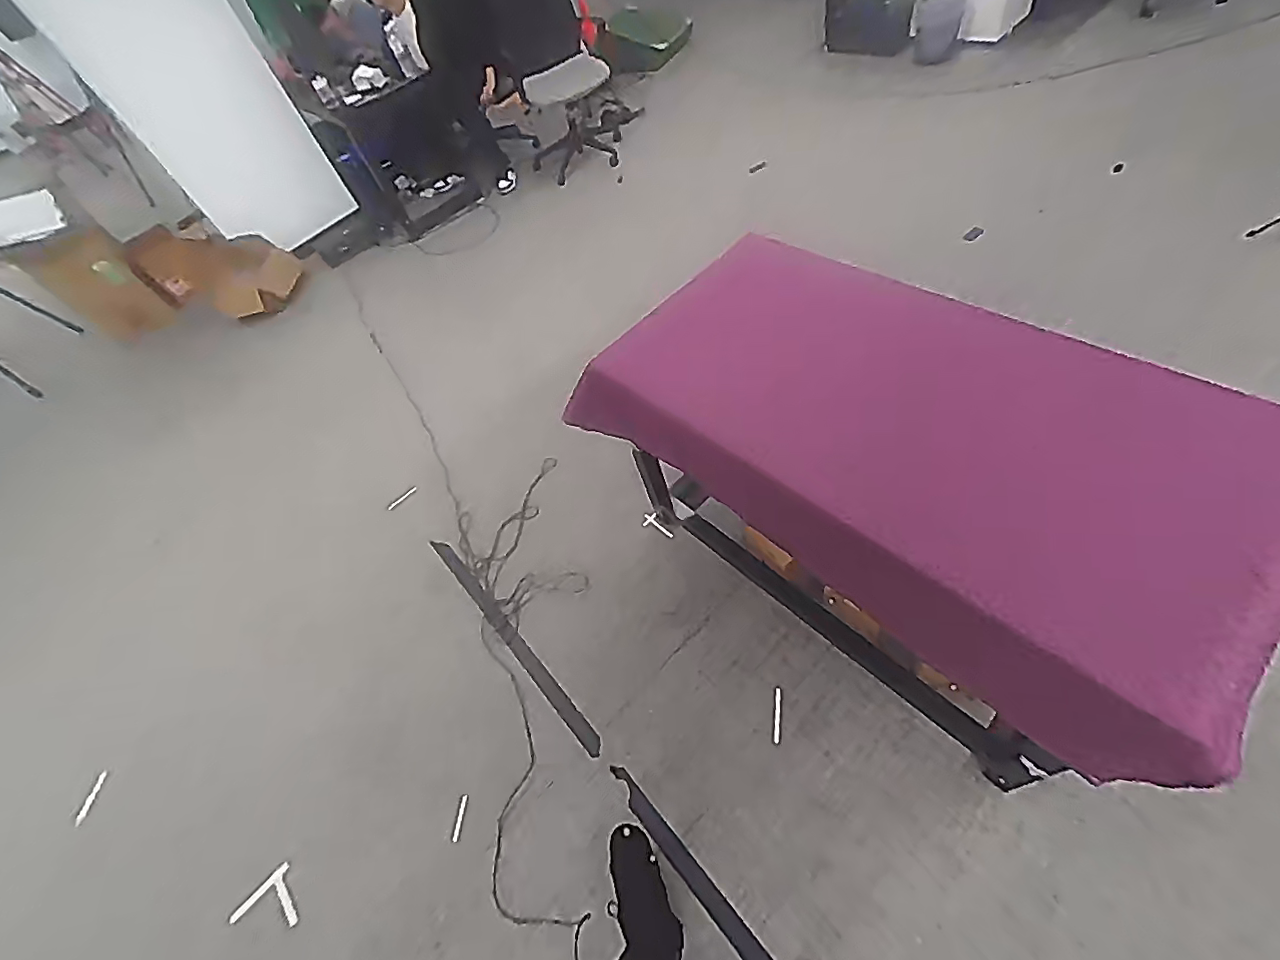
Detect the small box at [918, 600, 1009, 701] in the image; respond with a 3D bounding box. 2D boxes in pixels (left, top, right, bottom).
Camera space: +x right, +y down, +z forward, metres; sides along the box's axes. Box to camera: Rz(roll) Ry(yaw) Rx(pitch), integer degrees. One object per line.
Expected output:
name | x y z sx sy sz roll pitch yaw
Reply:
small box | 0.806 0.429 1.359 0.168 0.176 0.179 8 57 21
